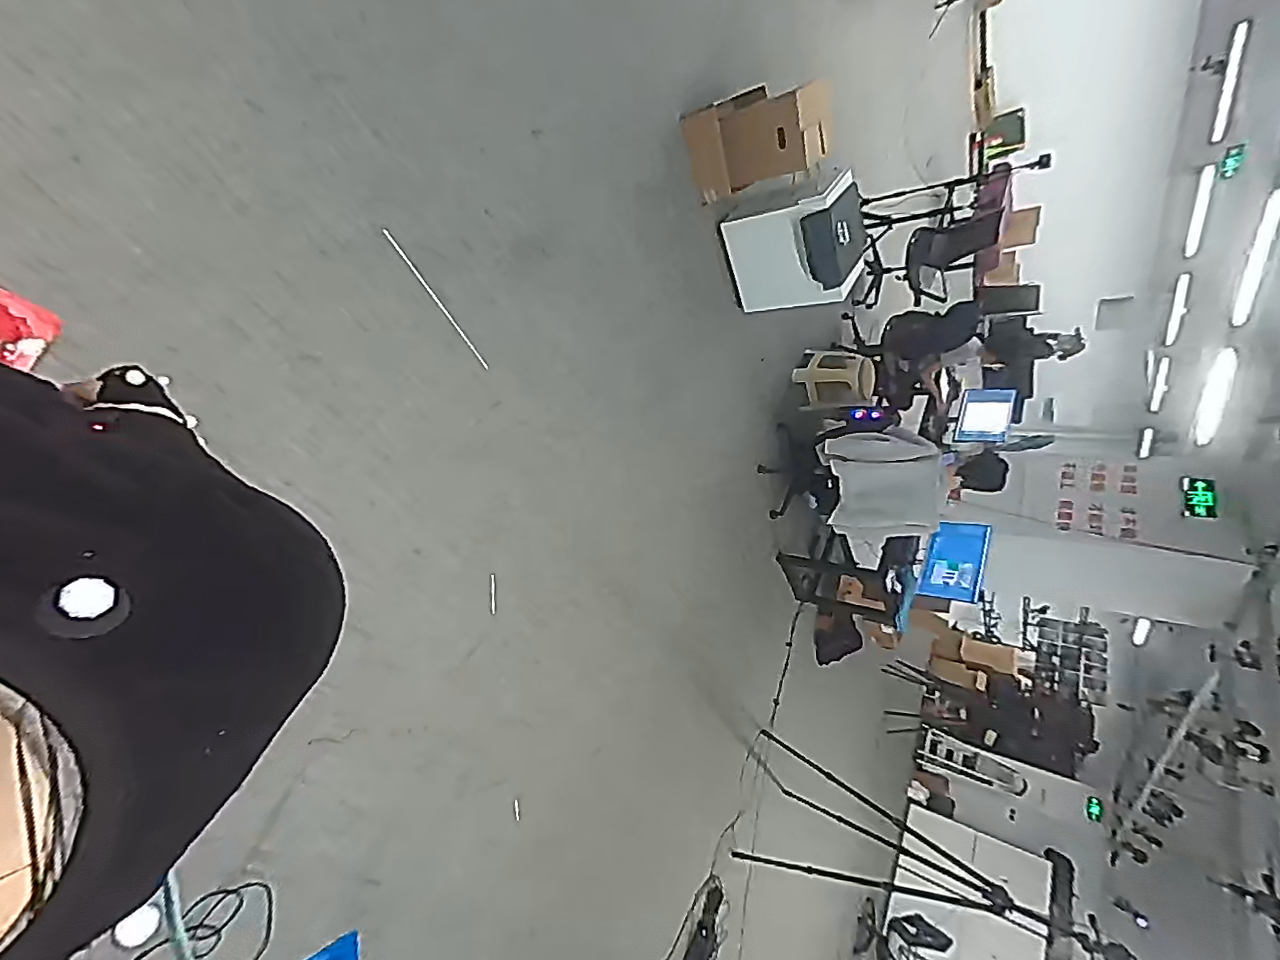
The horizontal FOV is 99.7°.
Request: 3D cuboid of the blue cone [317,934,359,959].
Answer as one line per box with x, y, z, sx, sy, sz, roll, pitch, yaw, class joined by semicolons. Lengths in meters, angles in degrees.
-0.761;1.440;1.444;0.193;0.380;0.192;-7;99;-54;blue cone
